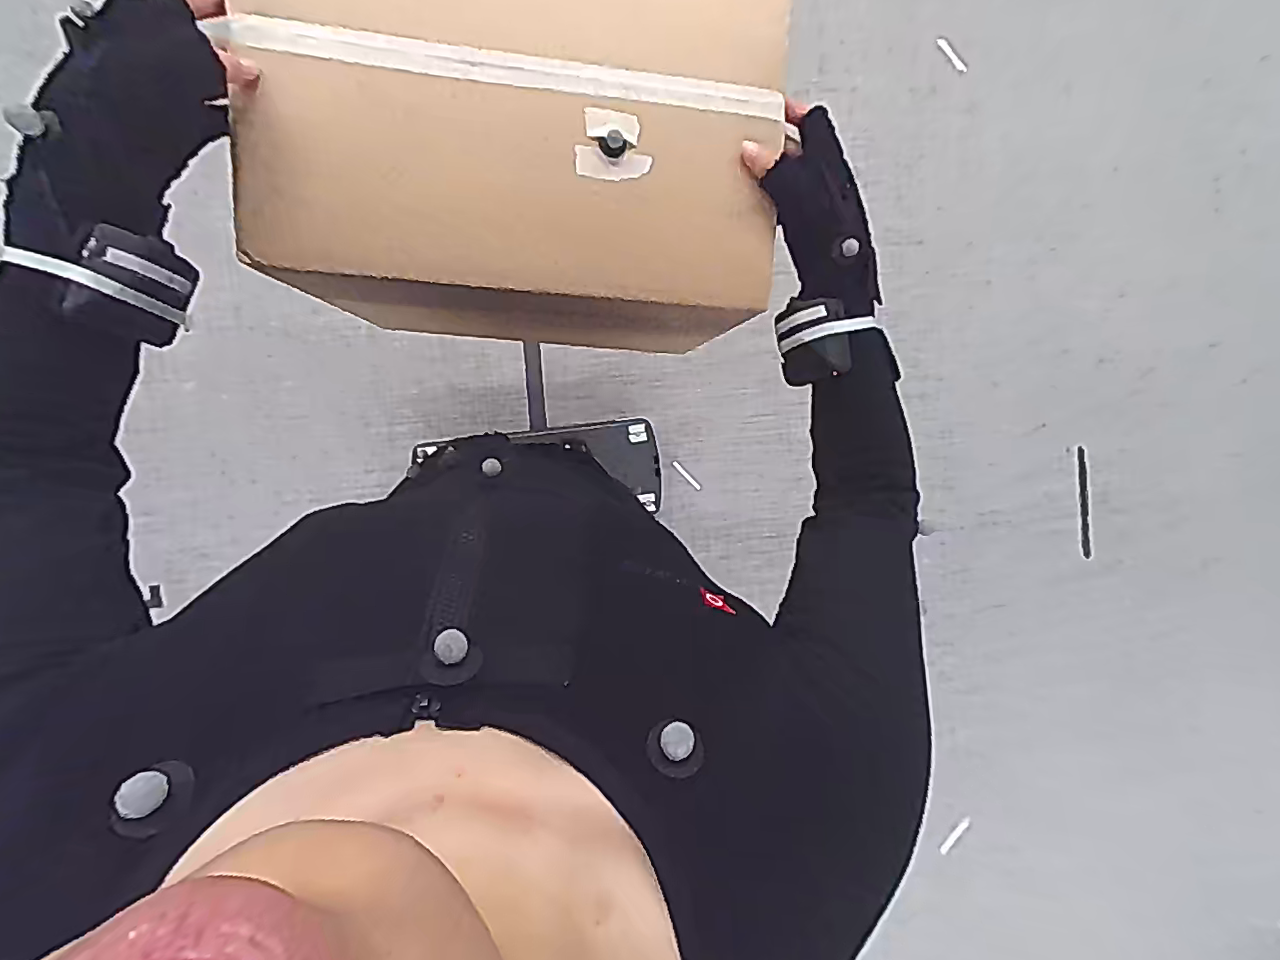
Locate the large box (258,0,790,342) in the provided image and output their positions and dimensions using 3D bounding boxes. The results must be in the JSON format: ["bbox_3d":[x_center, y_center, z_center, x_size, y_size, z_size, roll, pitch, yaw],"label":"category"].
[{"bbox_3d":[-0.101,-0.332,0.563,0.408,0.320,0.320,3,97,-9],"label":"large box"}]

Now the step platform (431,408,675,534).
[{"bbox_3d":[-0.241,-0.031,1.564,0.684,0.204,0.286,-8,95,-7],"label":"step platform"}]
